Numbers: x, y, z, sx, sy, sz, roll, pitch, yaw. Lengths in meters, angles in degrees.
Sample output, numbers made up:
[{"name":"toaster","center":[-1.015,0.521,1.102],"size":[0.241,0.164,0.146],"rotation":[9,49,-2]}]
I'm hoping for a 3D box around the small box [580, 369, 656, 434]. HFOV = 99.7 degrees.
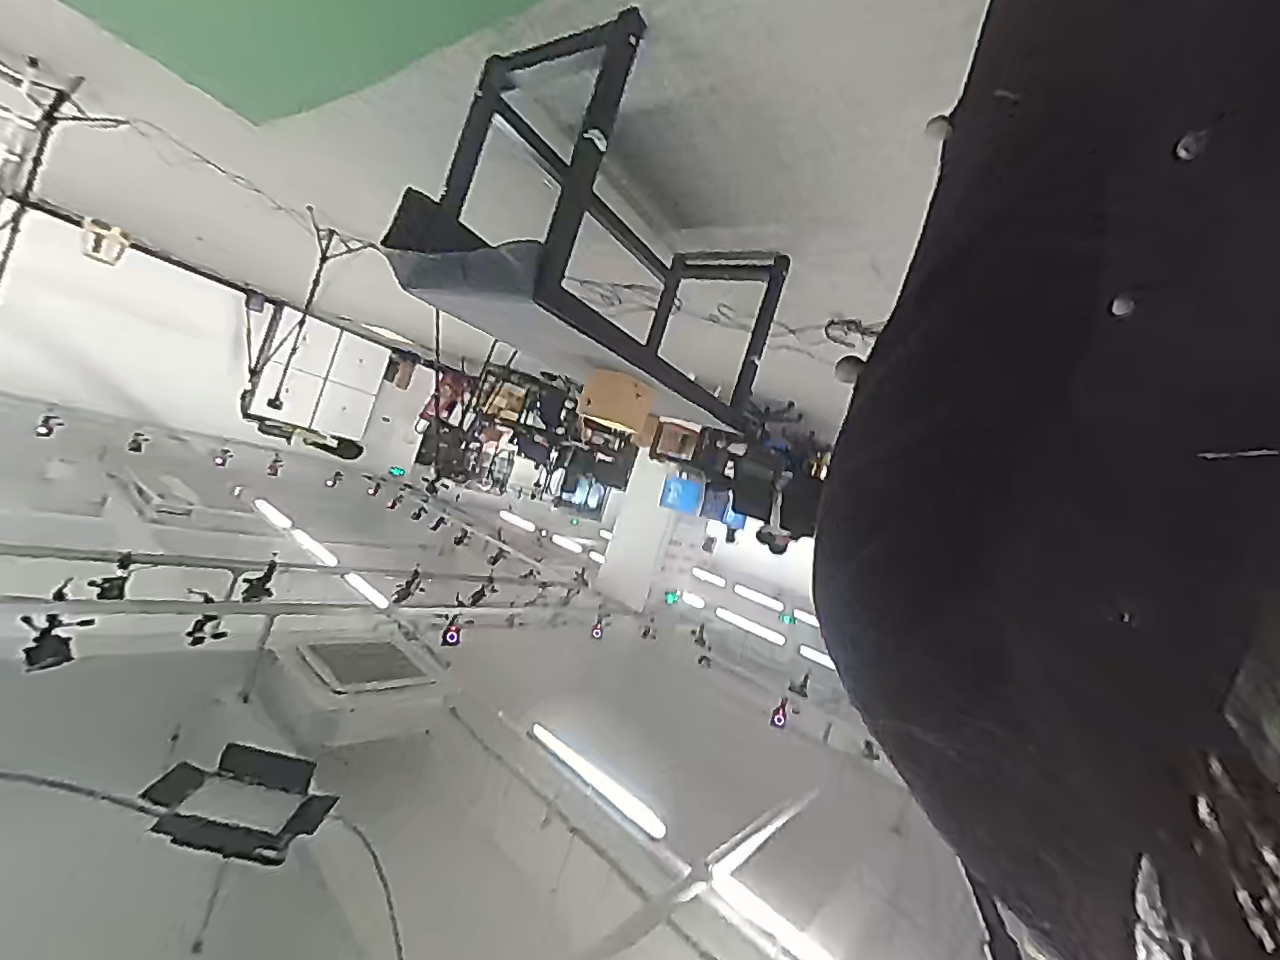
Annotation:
[{"name":"small box","center":[-0.072,-0.274,1.867],"size":[0.179,0.176,0.168],"rotation":[17,180,37]}]
